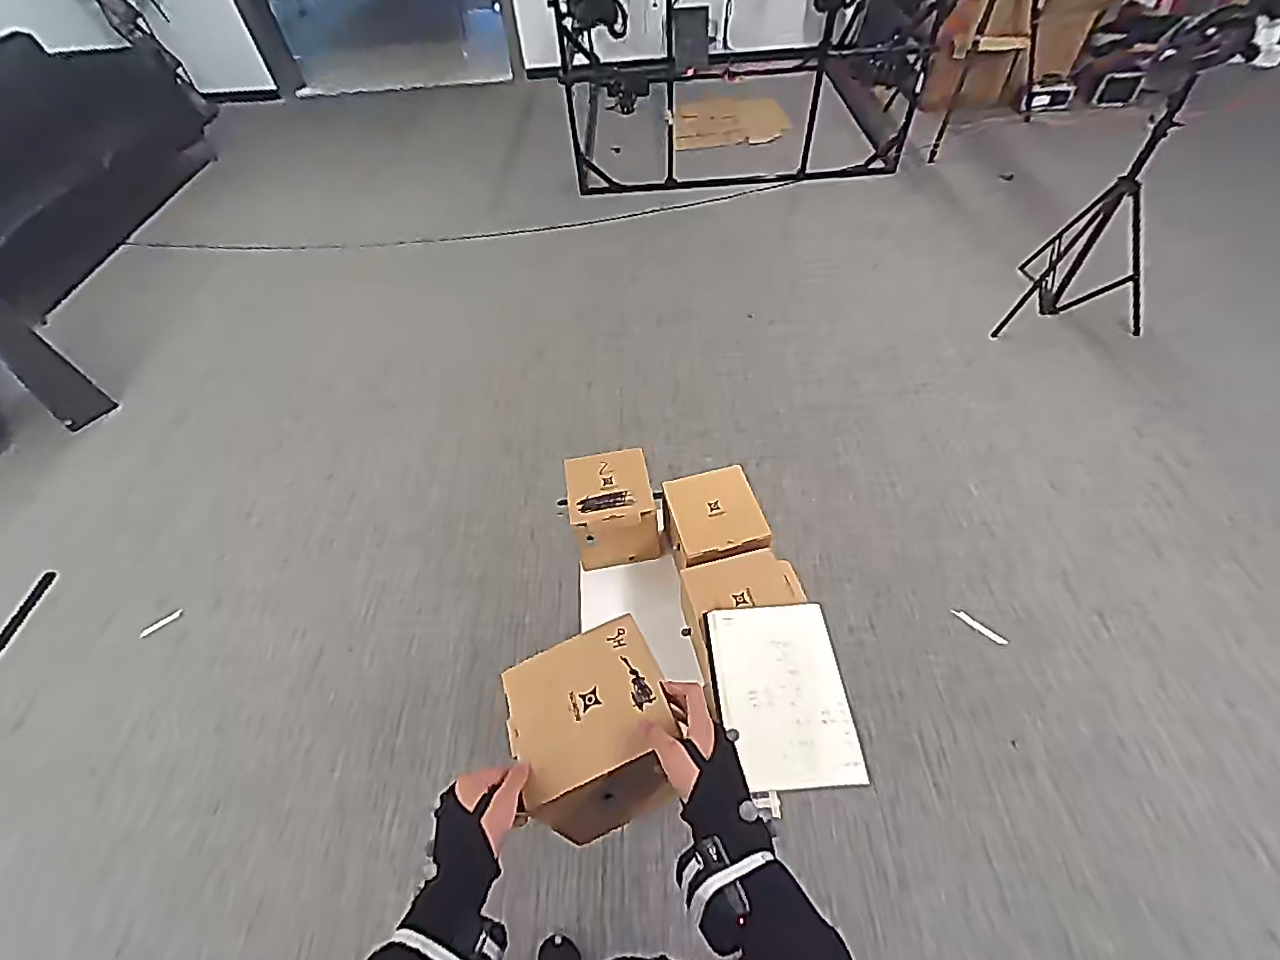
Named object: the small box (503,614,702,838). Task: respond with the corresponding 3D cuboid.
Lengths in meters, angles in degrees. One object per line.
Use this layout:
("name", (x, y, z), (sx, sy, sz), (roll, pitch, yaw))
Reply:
("small box", (-0.043, 0.305, 0.663), (0.179, 0.176, 0.168), (-25, 45, -4))
